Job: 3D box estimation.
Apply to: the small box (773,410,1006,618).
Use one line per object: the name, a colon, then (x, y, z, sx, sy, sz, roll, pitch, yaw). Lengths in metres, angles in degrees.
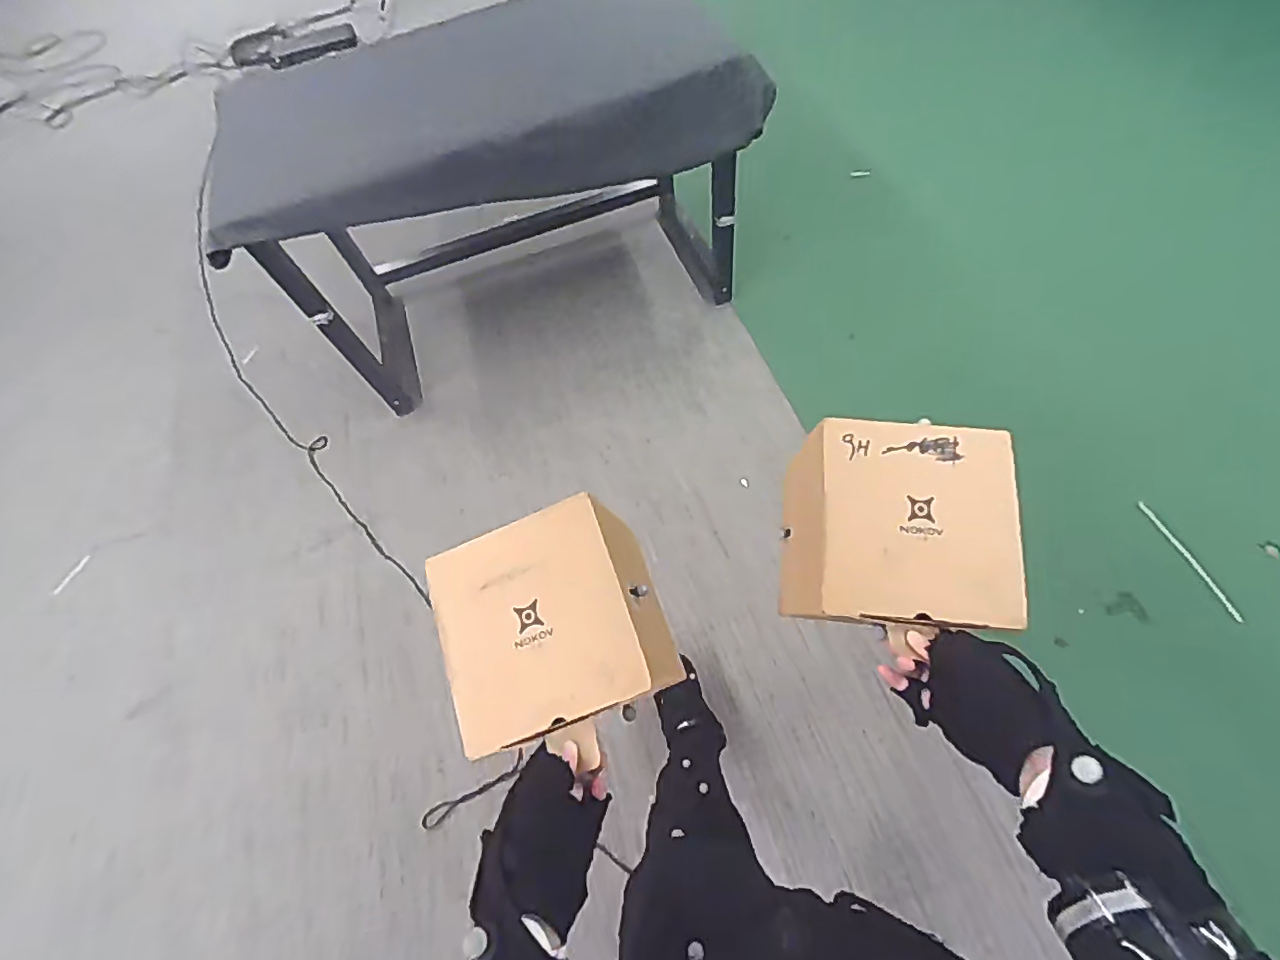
small box: (0.237, 0.043, 0.554, 0.168, 0.176, 0.179, 4, 77, 2)

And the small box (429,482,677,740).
small box: (-0.074, 0.128, 0.537, 0.168, 0.176, 0.179, -23, 69, 5)
